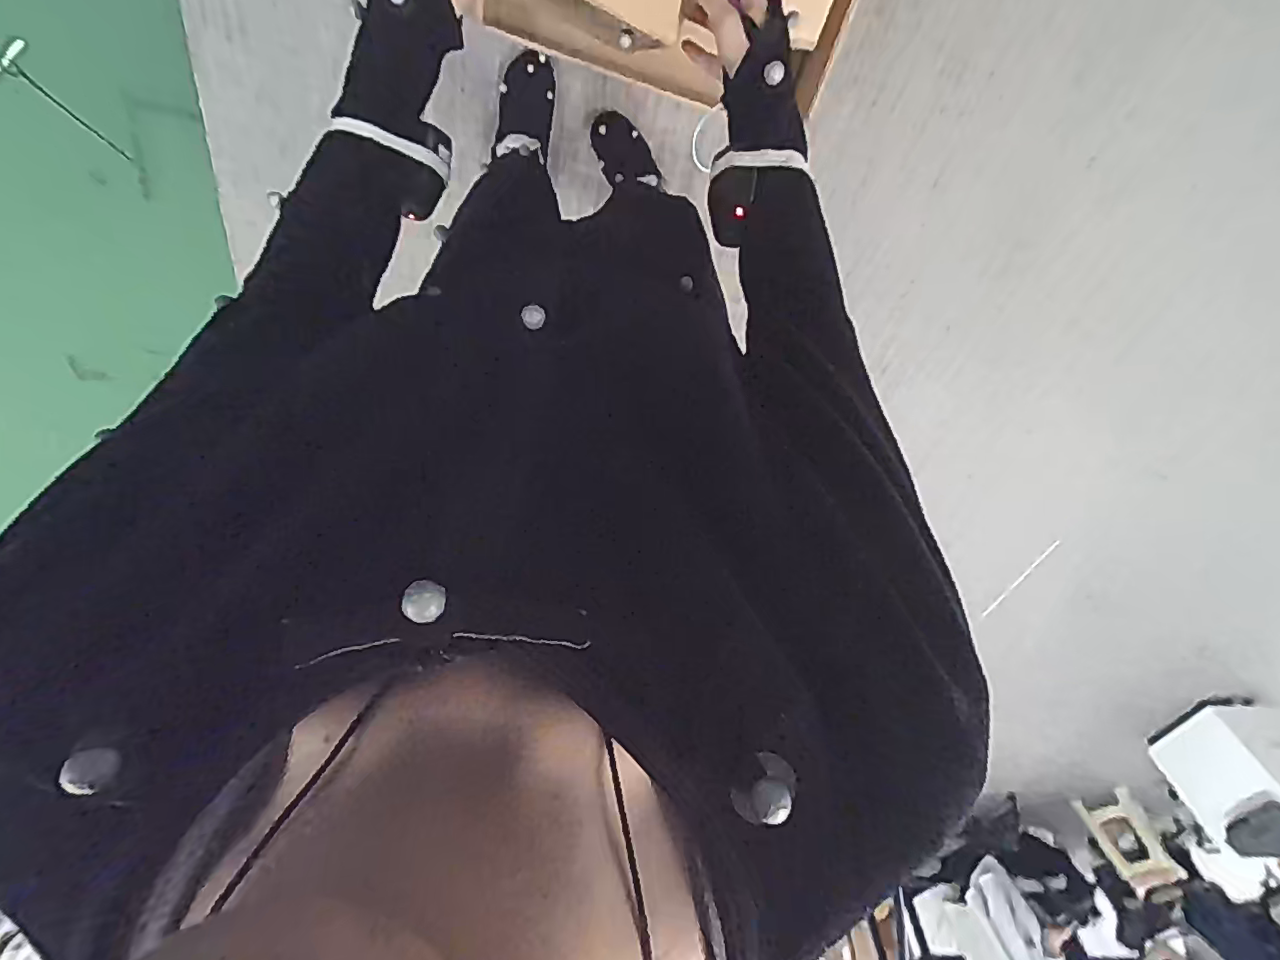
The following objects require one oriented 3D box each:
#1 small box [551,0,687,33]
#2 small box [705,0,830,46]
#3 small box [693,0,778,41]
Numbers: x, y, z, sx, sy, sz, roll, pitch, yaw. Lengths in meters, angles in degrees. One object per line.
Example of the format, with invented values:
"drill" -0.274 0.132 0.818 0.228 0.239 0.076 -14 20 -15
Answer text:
"small box" -0.040 -0.520 0.468 0.179 0.176 0.168 7 123 -25
"small box" 0.201 -0.771 0.790 0.168 0.176 0.179 12 128 -12
"small box" 0.195 -0.878 0.913 0.168 0.176 0.179 13 128 -10
